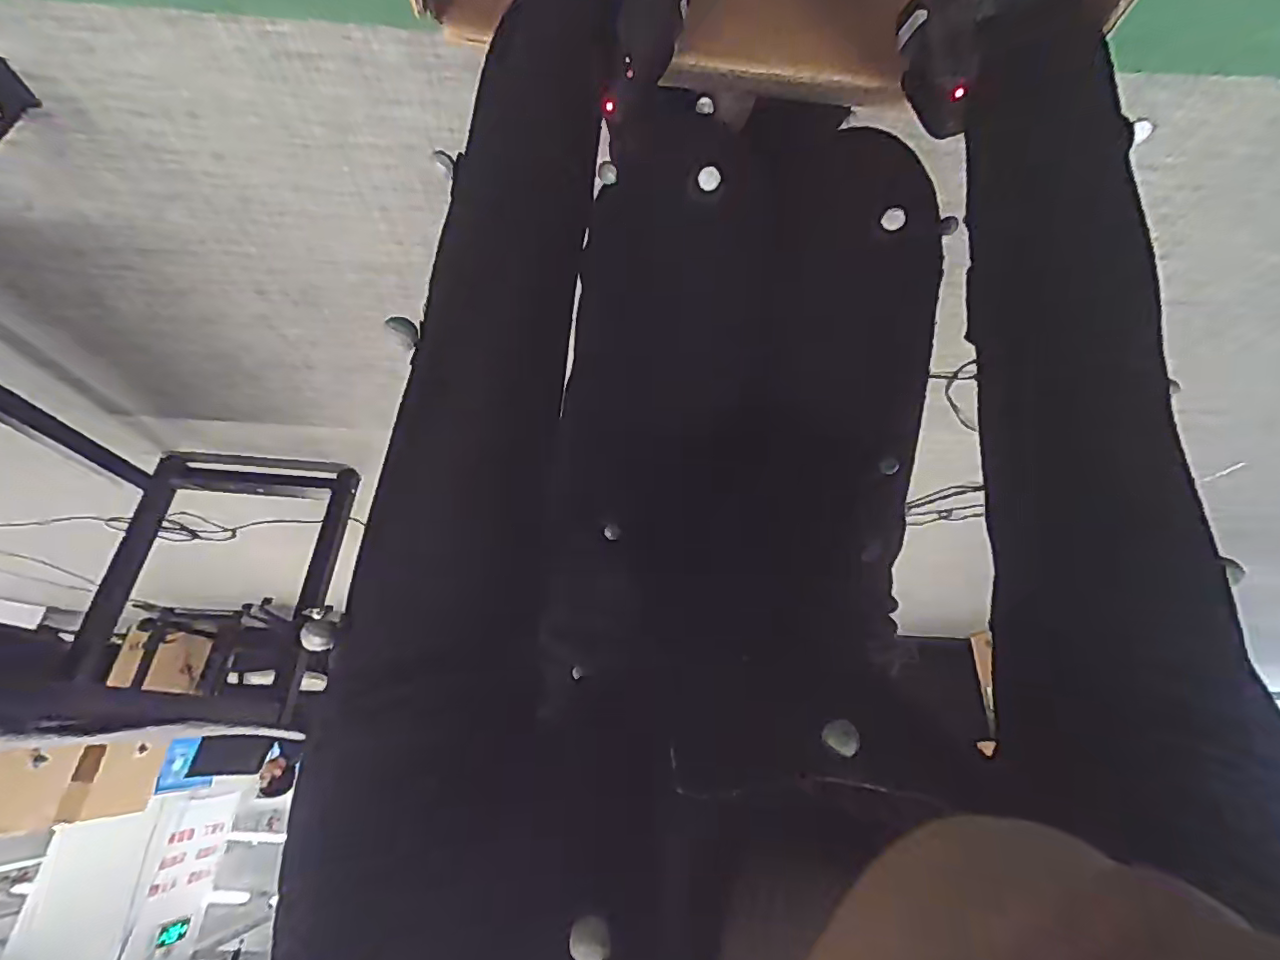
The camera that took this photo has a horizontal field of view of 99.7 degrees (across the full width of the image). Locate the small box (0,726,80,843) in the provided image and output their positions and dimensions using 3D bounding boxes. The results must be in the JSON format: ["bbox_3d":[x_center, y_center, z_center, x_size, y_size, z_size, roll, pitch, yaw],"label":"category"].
[{"bbox_3d":[-1.121,0.504,0.903,0.179,0.176,0.168,3,155,0],"label":"small box"}]
